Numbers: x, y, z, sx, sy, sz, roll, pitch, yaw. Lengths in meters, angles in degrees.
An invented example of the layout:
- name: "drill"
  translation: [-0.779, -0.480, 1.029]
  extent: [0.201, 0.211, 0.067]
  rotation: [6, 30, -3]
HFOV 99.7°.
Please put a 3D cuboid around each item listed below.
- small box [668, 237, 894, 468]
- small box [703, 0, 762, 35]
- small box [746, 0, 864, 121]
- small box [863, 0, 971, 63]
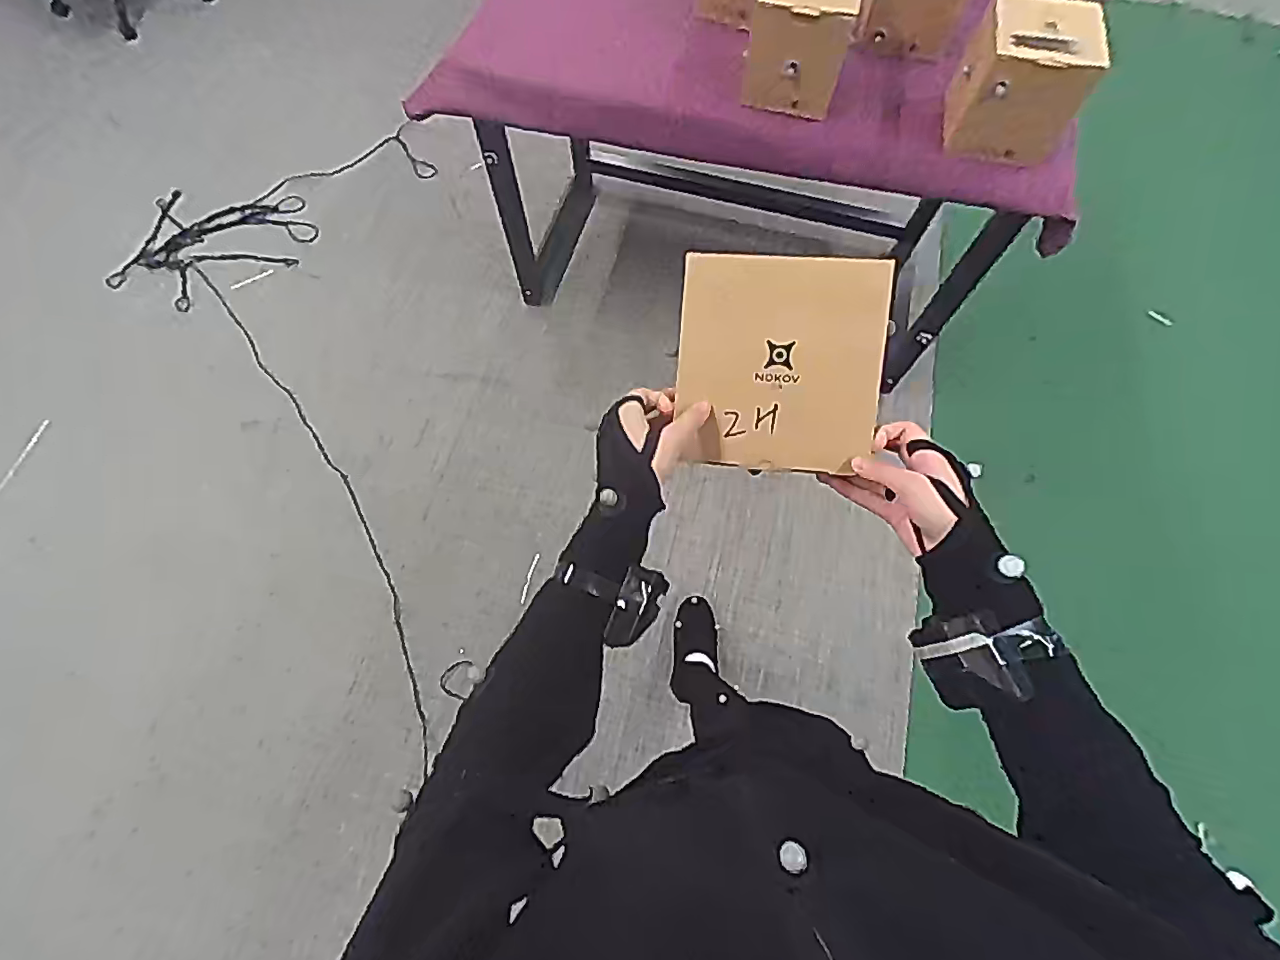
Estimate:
- name: "small box"
  translation: [0.123, -0.113, 0.521]
  extent: [0.168, 0.176, 0.179]
  rotation: [7, 98, 8]
- name: "small box"
  translation: [0.235, -1.040, 1.083]
  extent: [0.168, 0.176, 0.179]
  rotation: [25, 70, 9]
- name: "small box"
  translation: [0.298, -0.794, 0.980]
  extent: [0.168, 0.176, 0.179]
  rotation: [16, 68, 6]
- name: "small box"
  translation: [0.546, -0.952, 1.046]
  extent: [0.168, 0.176, 0.179]
  rotation: [14, 67, 5]
